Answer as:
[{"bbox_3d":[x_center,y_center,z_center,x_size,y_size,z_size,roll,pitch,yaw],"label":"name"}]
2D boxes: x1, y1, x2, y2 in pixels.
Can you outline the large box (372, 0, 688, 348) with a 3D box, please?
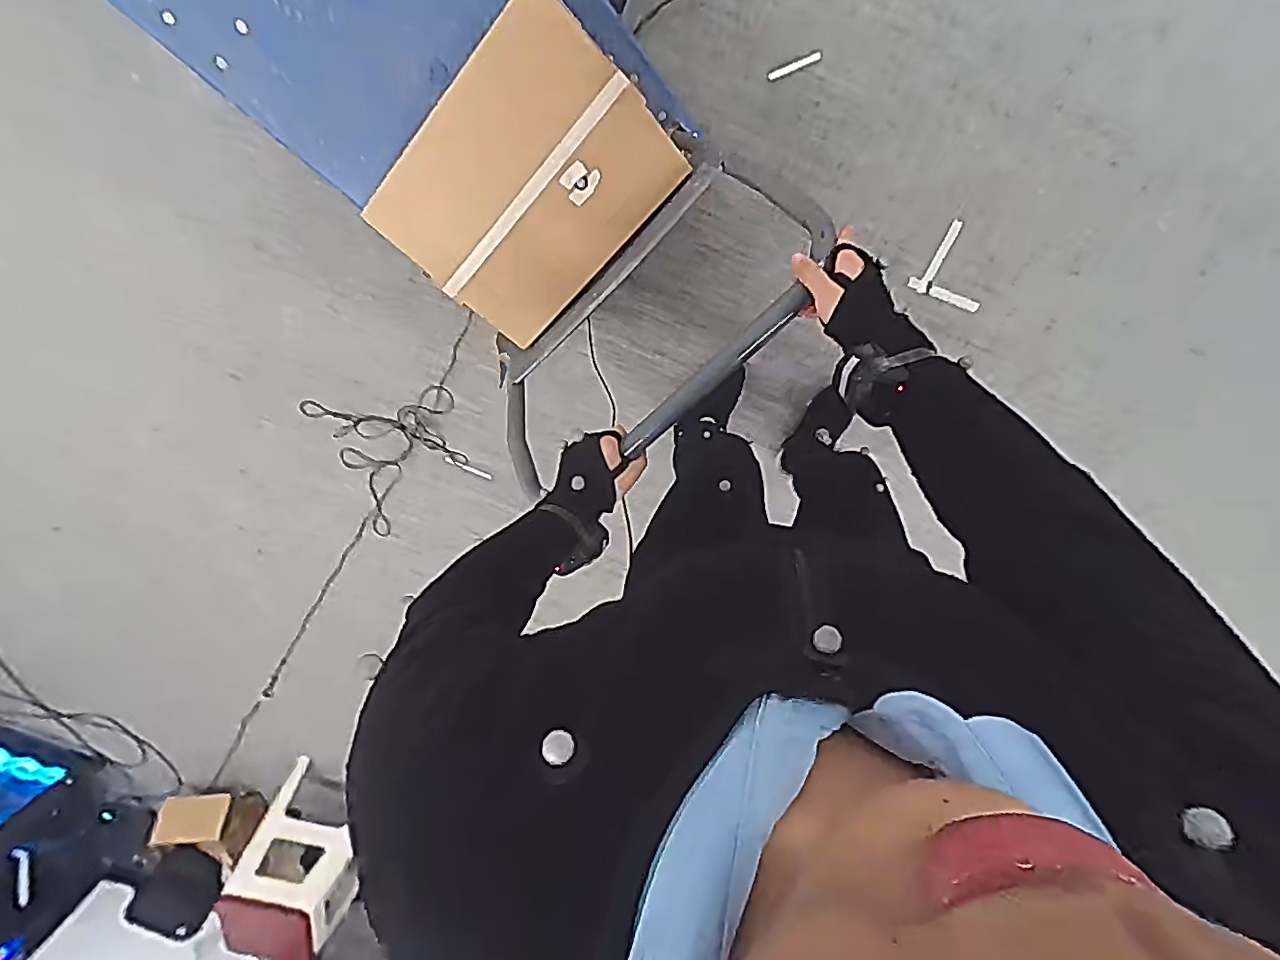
[{"bbox_3d":[-0.187,-0.519,0.946,0.408,0.320,0.320,-42,122,18],"label":"large box"}]
